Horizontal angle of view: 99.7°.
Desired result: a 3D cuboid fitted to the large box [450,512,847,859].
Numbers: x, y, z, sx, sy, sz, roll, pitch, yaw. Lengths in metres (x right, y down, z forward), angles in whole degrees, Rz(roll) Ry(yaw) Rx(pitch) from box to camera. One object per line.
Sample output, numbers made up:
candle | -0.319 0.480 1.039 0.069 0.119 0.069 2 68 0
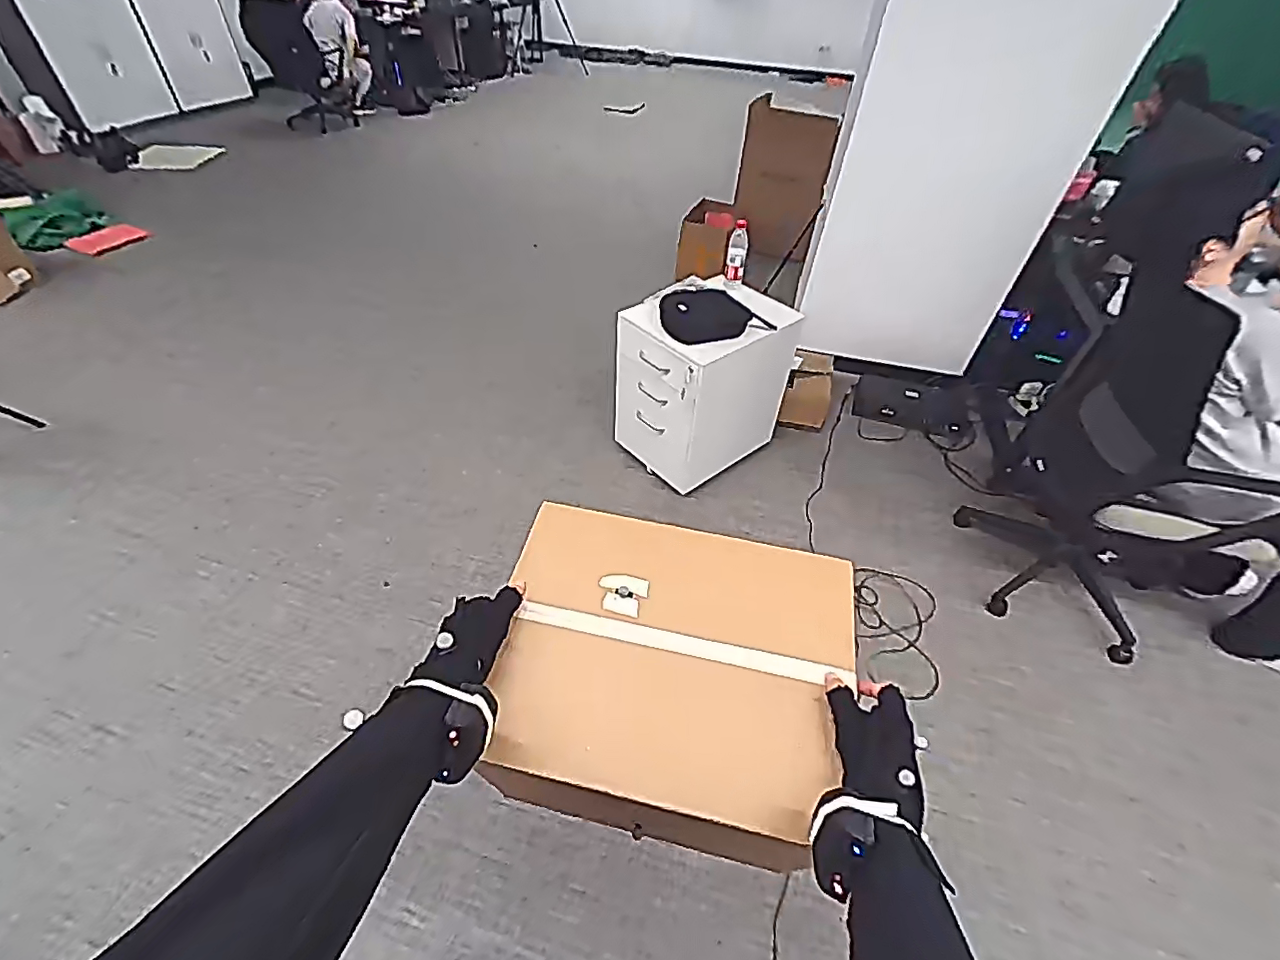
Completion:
large box | 0.031 0.282 0.733 0.408 0.320 0.320 10 52 8
